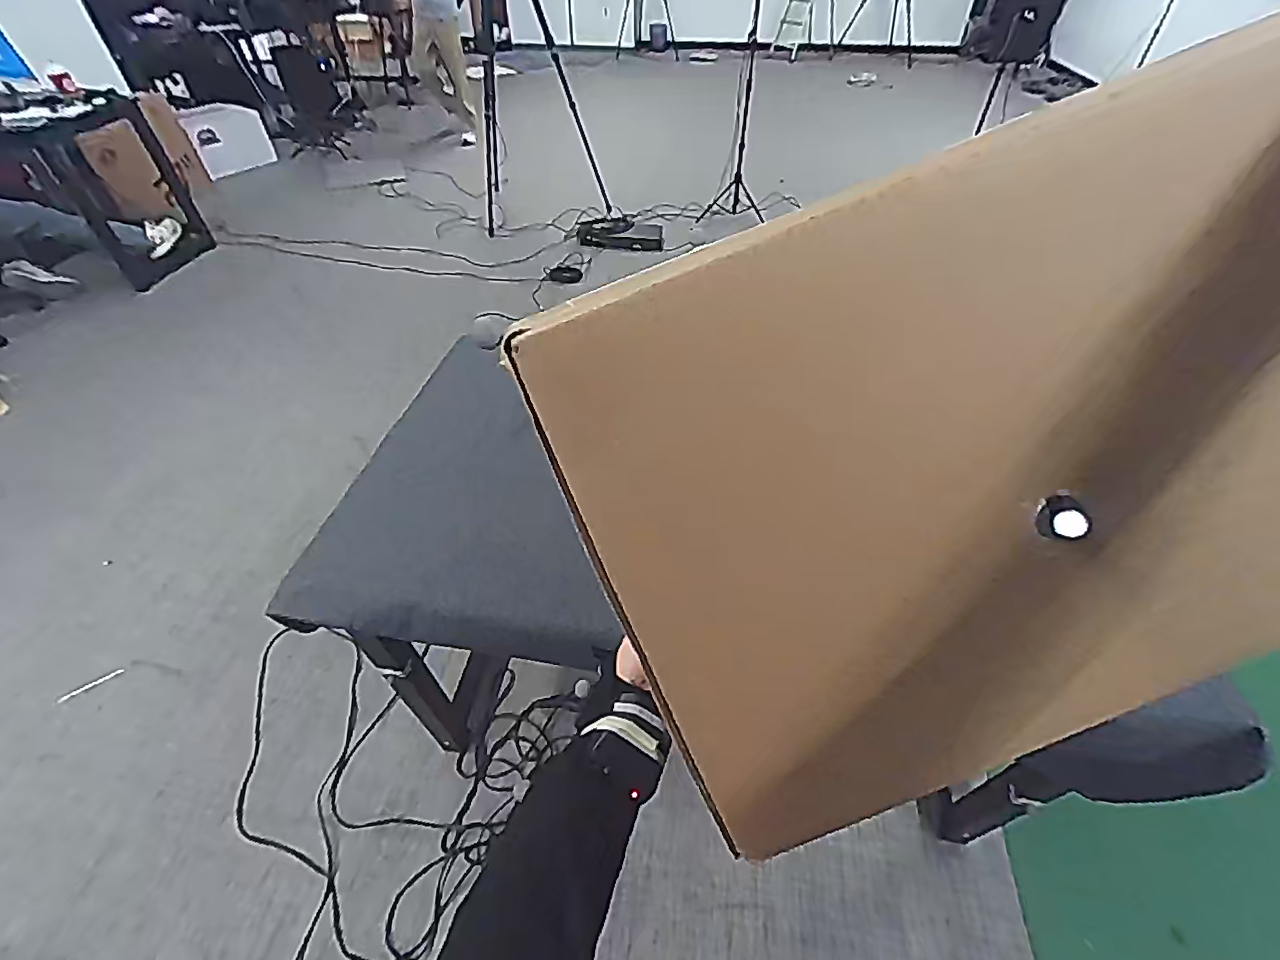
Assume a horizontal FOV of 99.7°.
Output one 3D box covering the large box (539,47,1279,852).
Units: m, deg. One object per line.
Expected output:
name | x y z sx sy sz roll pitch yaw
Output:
large box | 0.175 -0.030 0.410 0.408 0.320 0.320 -24 18 -1
